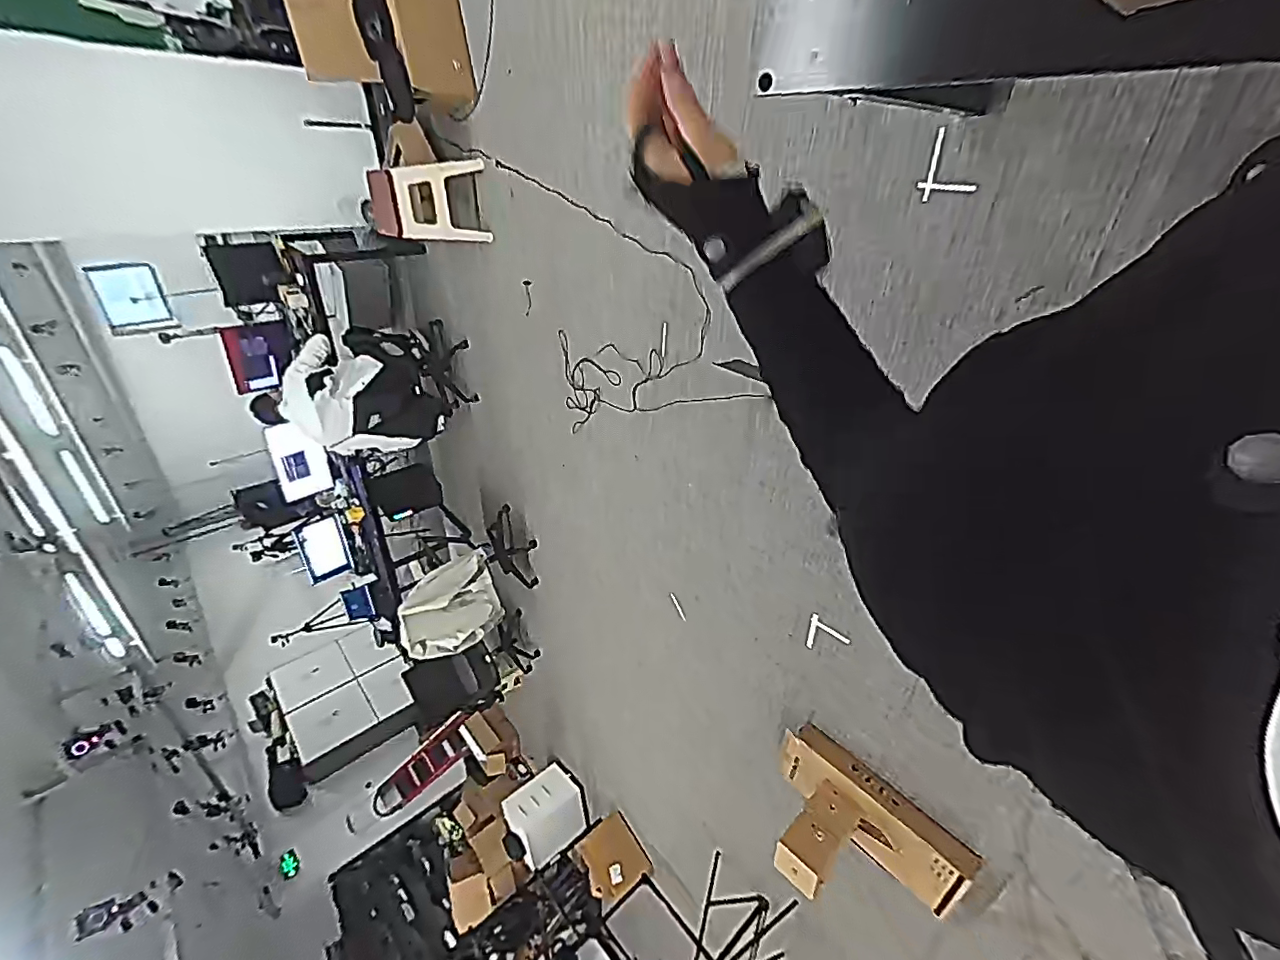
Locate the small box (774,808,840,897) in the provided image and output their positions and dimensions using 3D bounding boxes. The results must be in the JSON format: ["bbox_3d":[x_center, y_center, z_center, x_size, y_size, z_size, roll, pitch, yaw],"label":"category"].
[{"bbox_3d":[0.620,1.374,2.000,0.168,0.176,0.179,25,128,41],"label":"small box"}]

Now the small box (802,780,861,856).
[{"bbox_3d":[0.735,1.315,2.100,0.168,0.176,0.179,29,130,40],"label":"small box"}]
